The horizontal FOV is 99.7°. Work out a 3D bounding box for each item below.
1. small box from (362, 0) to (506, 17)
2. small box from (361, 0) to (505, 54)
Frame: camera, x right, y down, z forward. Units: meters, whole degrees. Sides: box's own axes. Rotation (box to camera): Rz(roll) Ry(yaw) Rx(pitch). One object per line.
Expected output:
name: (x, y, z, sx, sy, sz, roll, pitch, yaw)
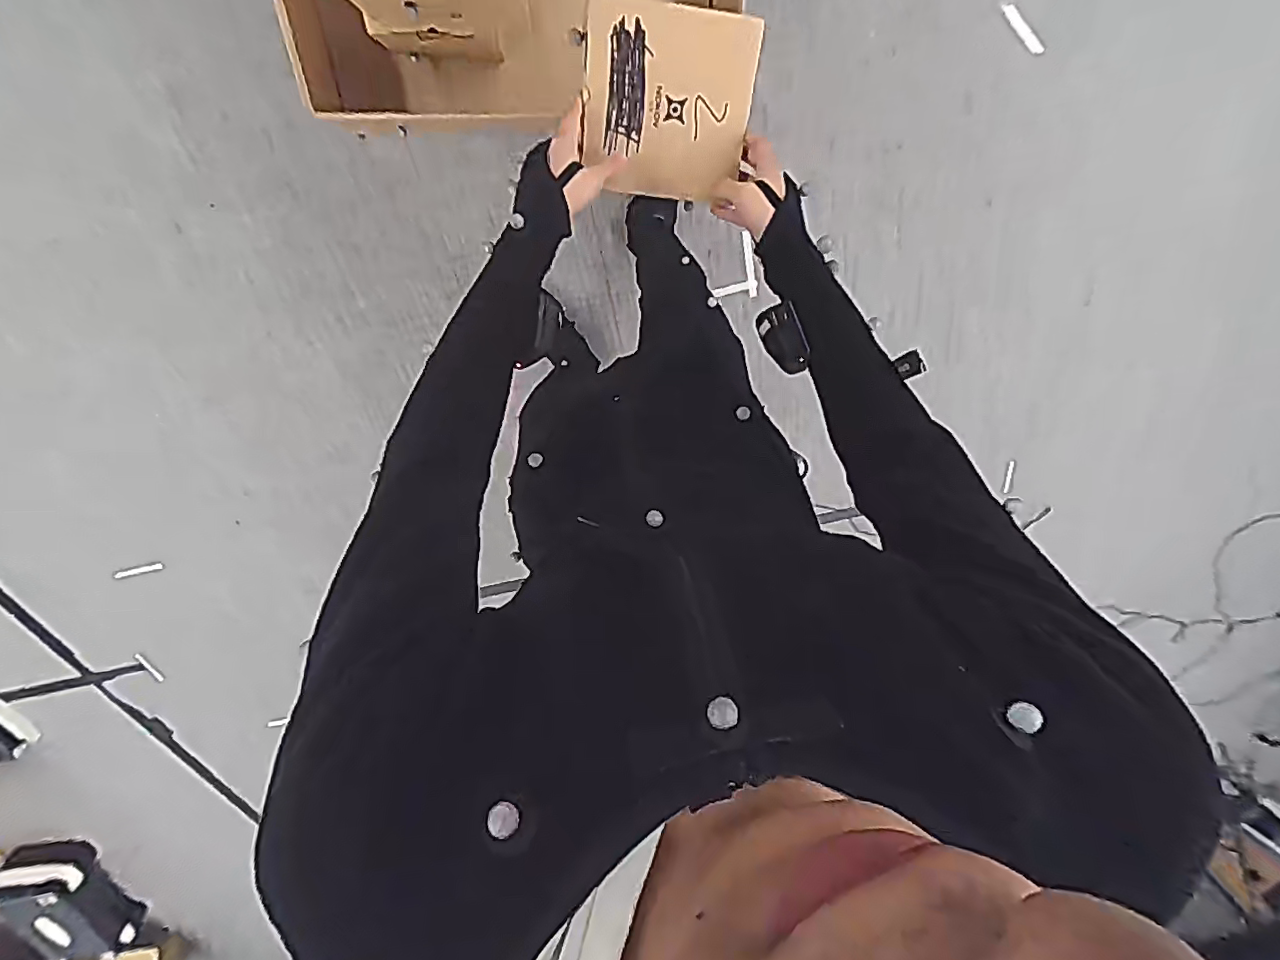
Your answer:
small box: (-0.242, -0.623, 0.579, 0.168, 0.176, 0.179, -7, 120, -7)
small box: (-0.276, -0.693, 0.722, 0.168, 0.176, 0.179, -3, 120, -8)
